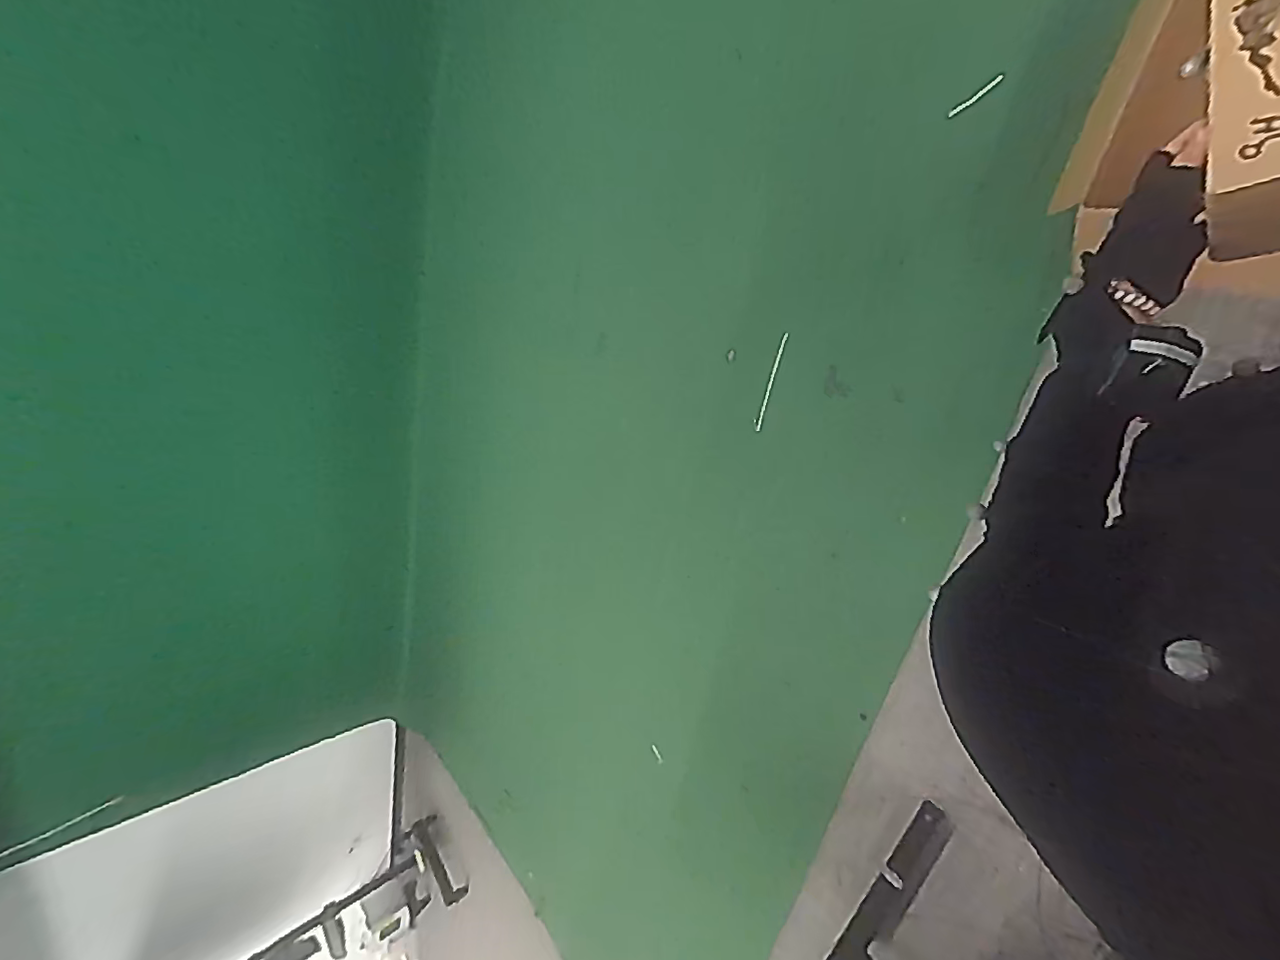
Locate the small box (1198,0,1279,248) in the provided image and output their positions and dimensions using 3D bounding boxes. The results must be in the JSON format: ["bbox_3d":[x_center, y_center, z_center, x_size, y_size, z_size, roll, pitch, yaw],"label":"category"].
[{"bbox_3d":[0.493,-0.274,0.351,0.179,0.176,0.168,3,92,47],"label":"small box"}]
